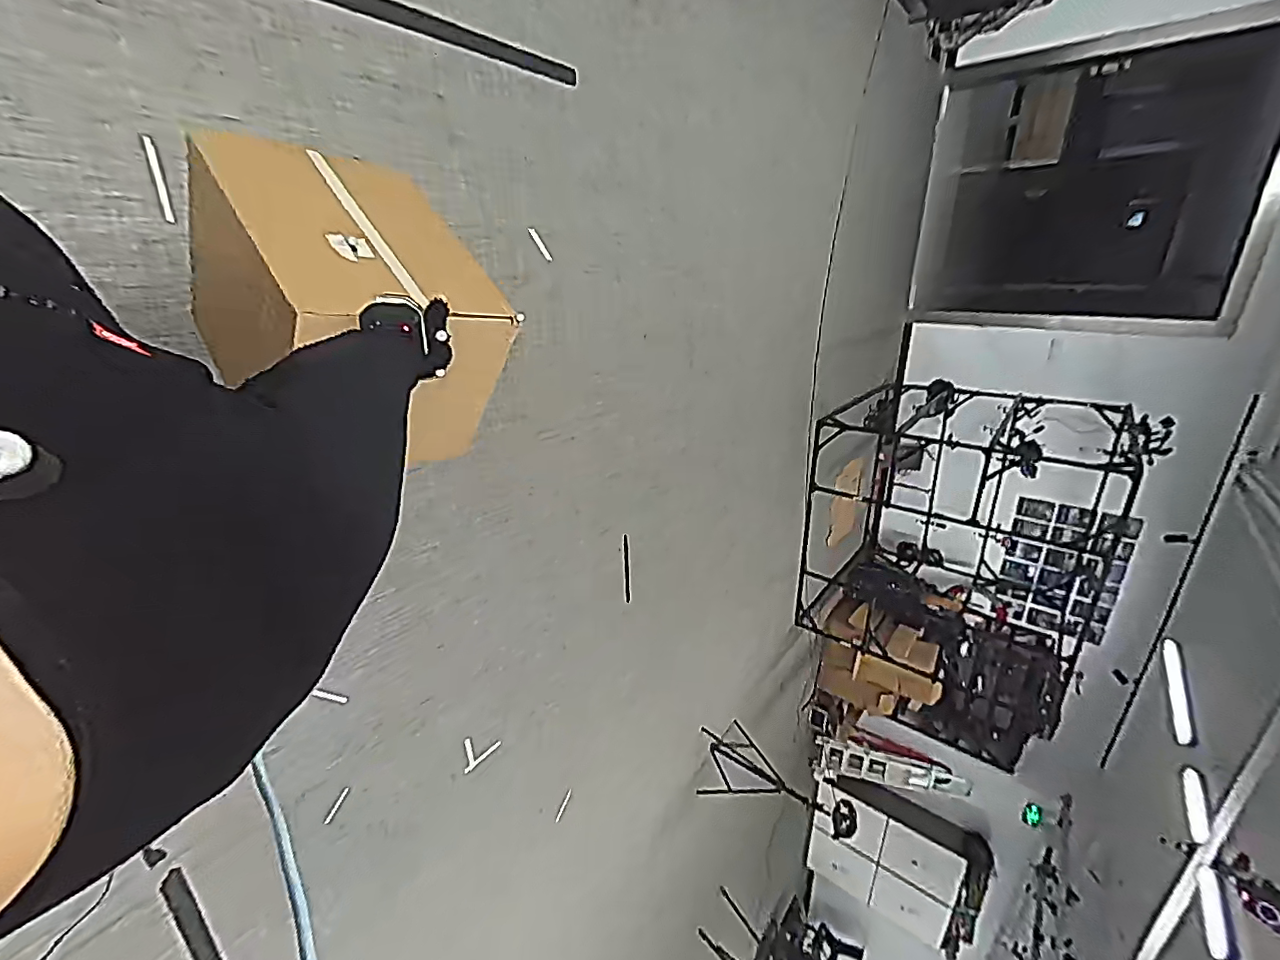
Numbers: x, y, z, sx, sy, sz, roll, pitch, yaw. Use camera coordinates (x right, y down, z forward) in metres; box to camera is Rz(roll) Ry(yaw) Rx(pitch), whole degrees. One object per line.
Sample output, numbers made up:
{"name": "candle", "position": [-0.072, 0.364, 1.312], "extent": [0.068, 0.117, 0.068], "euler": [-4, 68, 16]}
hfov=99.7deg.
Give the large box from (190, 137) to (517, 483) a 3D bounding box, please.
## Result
{"name": "large box", "position": [-0.481, -0.262, 0.886], "extent": [0.320, 0.408, 0.320], "euler": [-17, 153, -47]}
